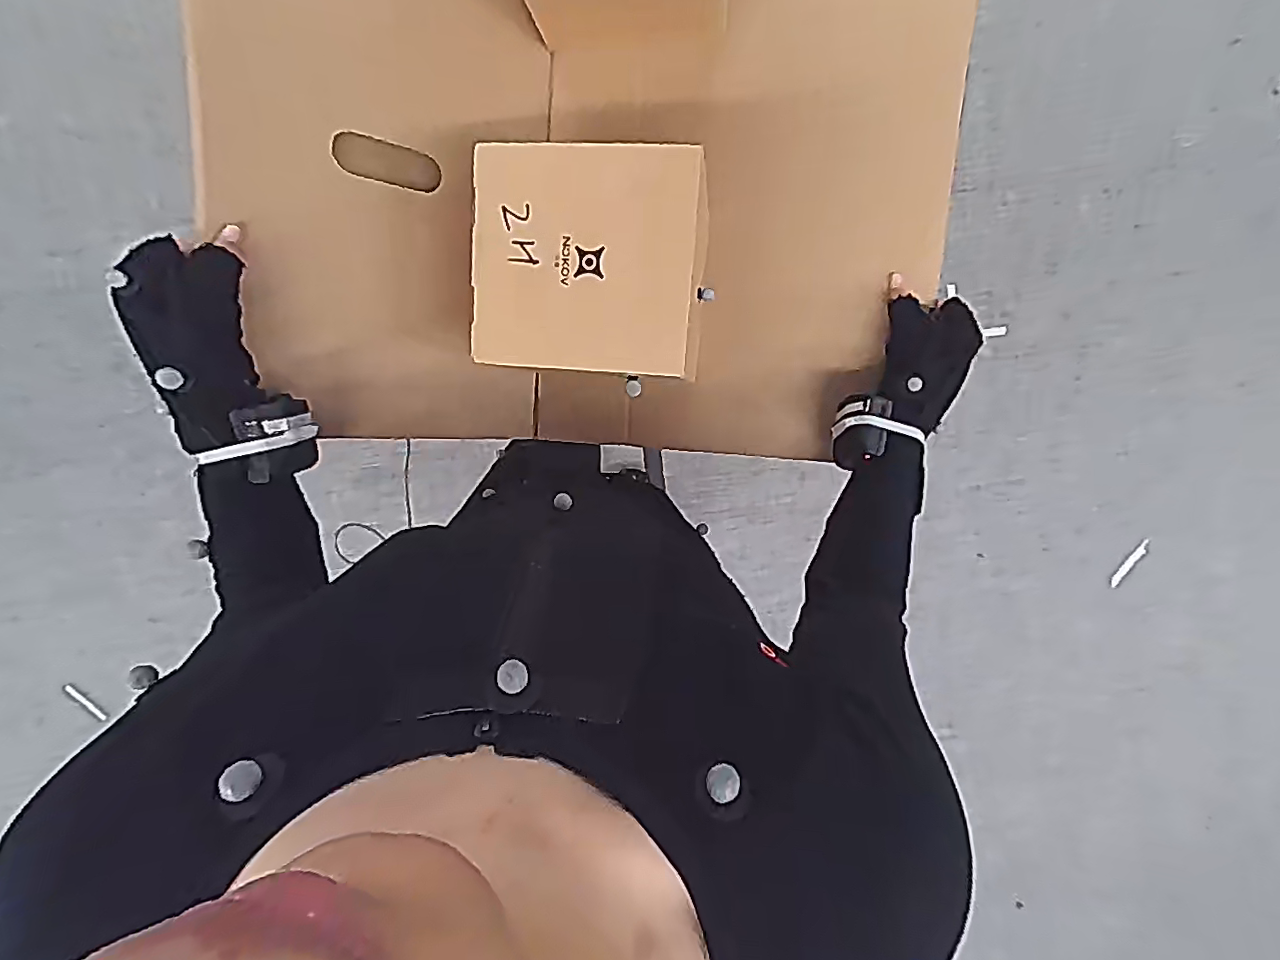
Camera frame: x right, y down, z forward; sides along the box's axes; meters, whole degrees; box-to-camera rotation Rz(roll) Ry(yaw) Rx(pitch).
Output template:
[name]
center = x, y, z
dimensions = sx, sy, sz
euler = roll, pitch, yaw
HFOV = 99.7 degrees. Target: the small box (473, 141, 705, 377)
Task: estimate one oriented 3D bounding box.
[small box]
center = -0.034, -0.186, 0.500
dimensions = 0.179, 0.176, 0.168
euler = 6, 99, 8
